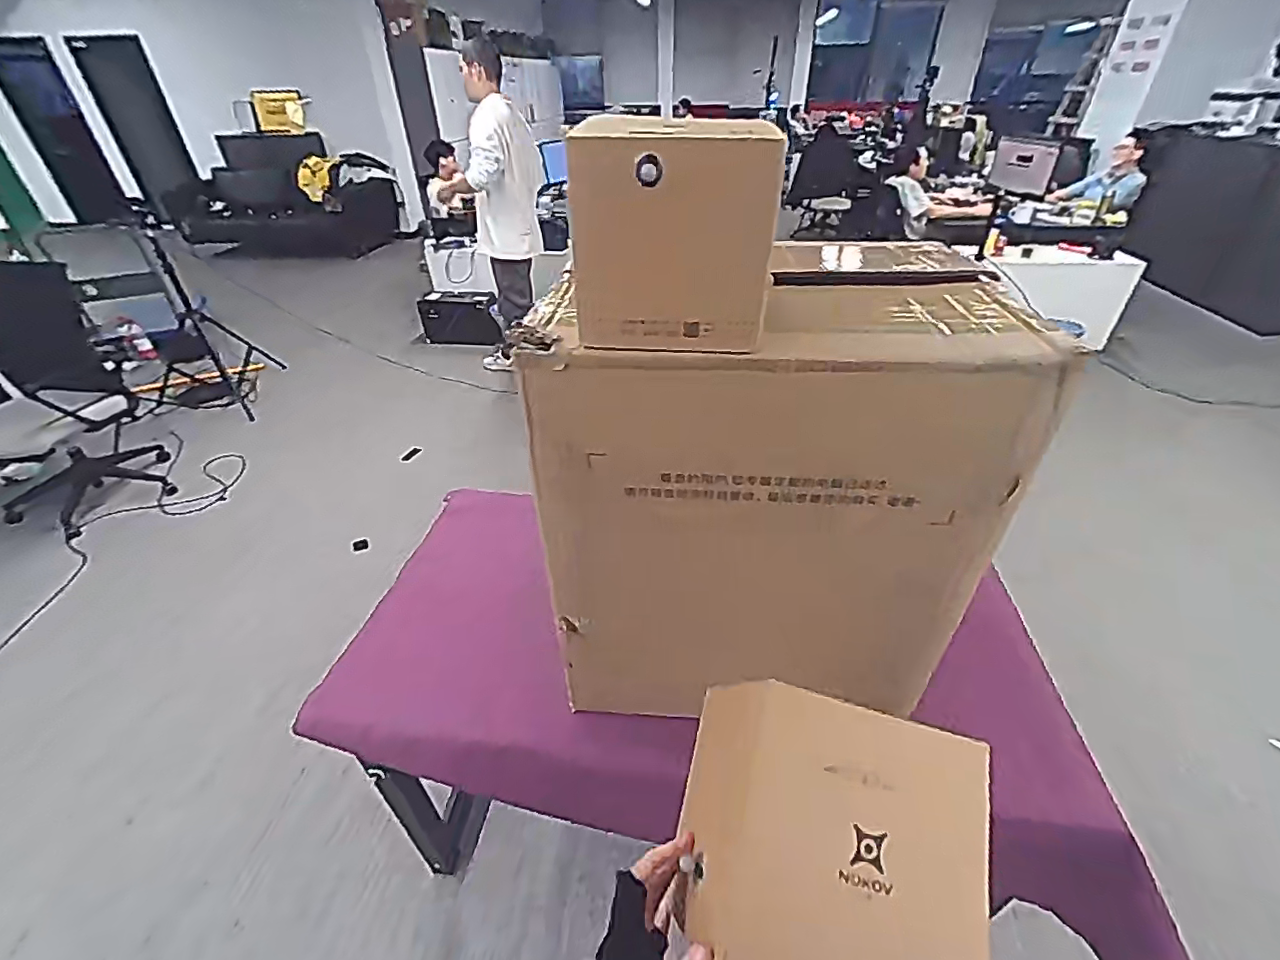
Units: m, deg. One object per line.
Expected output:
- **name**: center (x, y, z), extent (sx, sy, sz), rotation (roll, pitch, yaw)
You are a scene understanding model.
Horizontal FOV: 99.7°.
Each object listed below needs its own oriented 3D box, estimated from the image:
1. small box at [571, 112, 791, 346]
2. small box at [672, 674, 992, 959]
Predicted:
- **small box**: center (0.035, -0.239, 0.507), extent (0.168, 0.176, 0.179), rotation (3, 36, 4)
- **small box**: center (0.130, 0.264, 0.412), extent (0.168, 0.176, 0.179), rotation (17, 64, -3)
